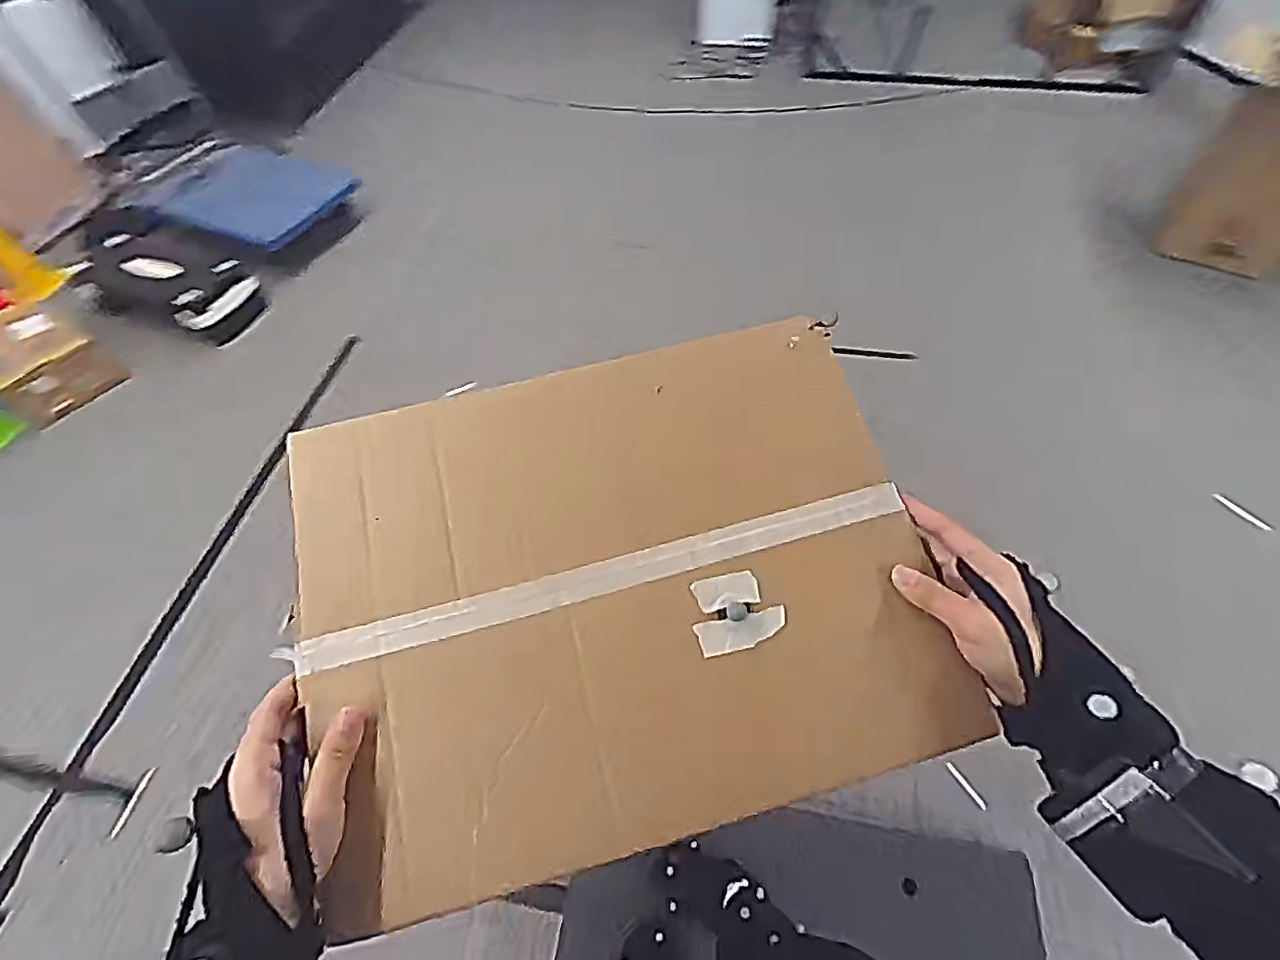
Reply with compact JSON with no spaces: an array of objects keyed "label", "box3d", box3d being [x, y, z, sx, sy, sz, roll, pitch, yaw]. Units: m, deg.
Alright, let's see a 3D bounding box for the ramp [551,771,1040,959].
[{"label":"ramp","box3d":[0.332,0.932,1.060,0.991,0.206,0.509,6,56,5]}]
